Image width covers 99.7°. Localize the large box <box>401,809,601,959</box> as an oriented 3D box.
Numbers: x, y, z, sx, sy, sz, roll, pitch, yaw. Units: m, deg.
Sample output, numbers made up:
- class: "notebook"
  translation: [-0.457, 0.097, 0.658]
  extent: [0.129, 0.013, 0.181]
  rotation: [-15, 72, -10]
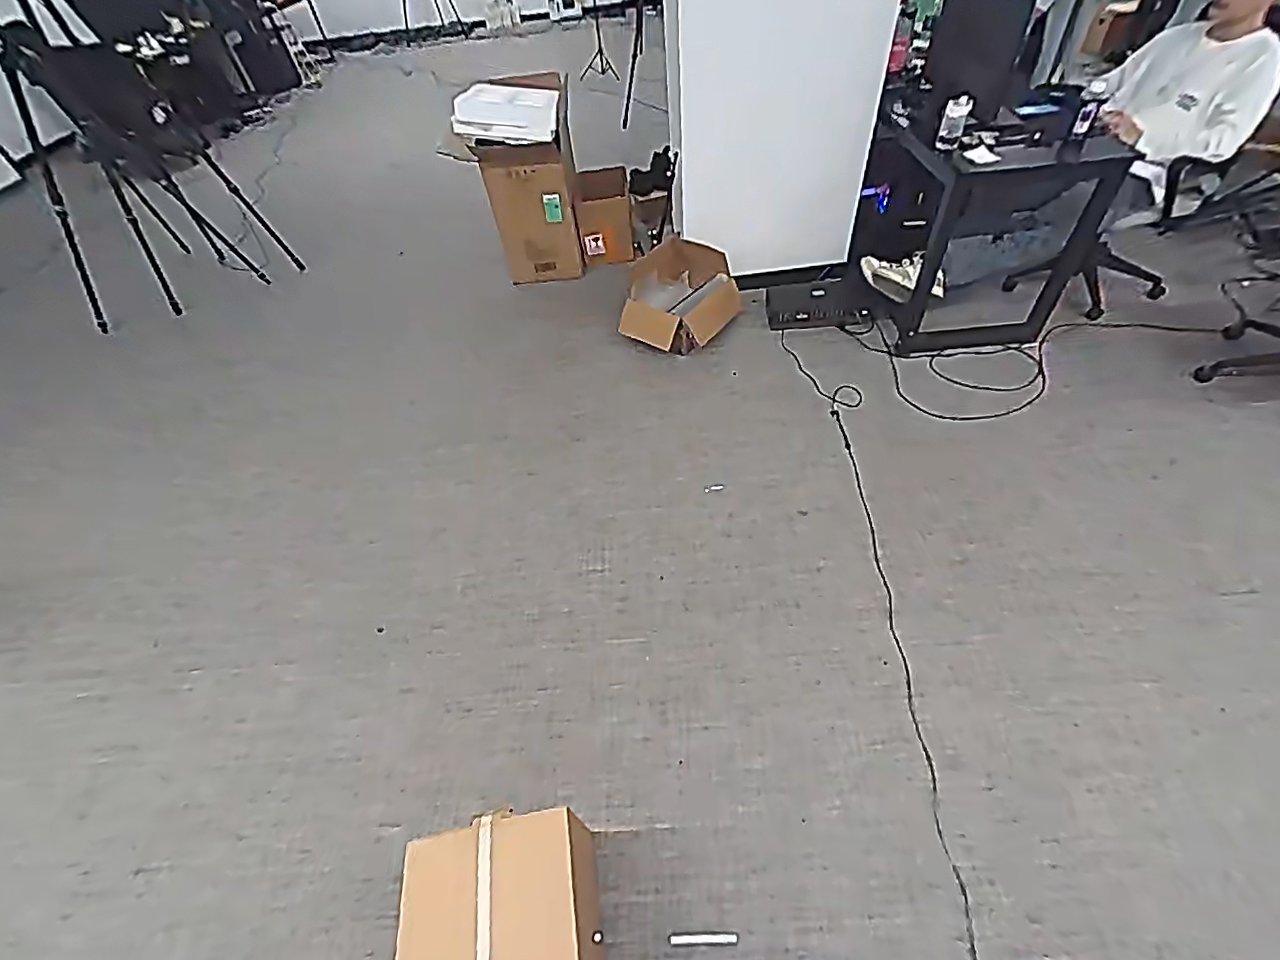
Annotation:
- class: "large box"
  translation: [-0.248, 0.917, 1.041]
  extent: [0.320, 0.320, 0.408]
  rotation: [-12, 49, -2]
